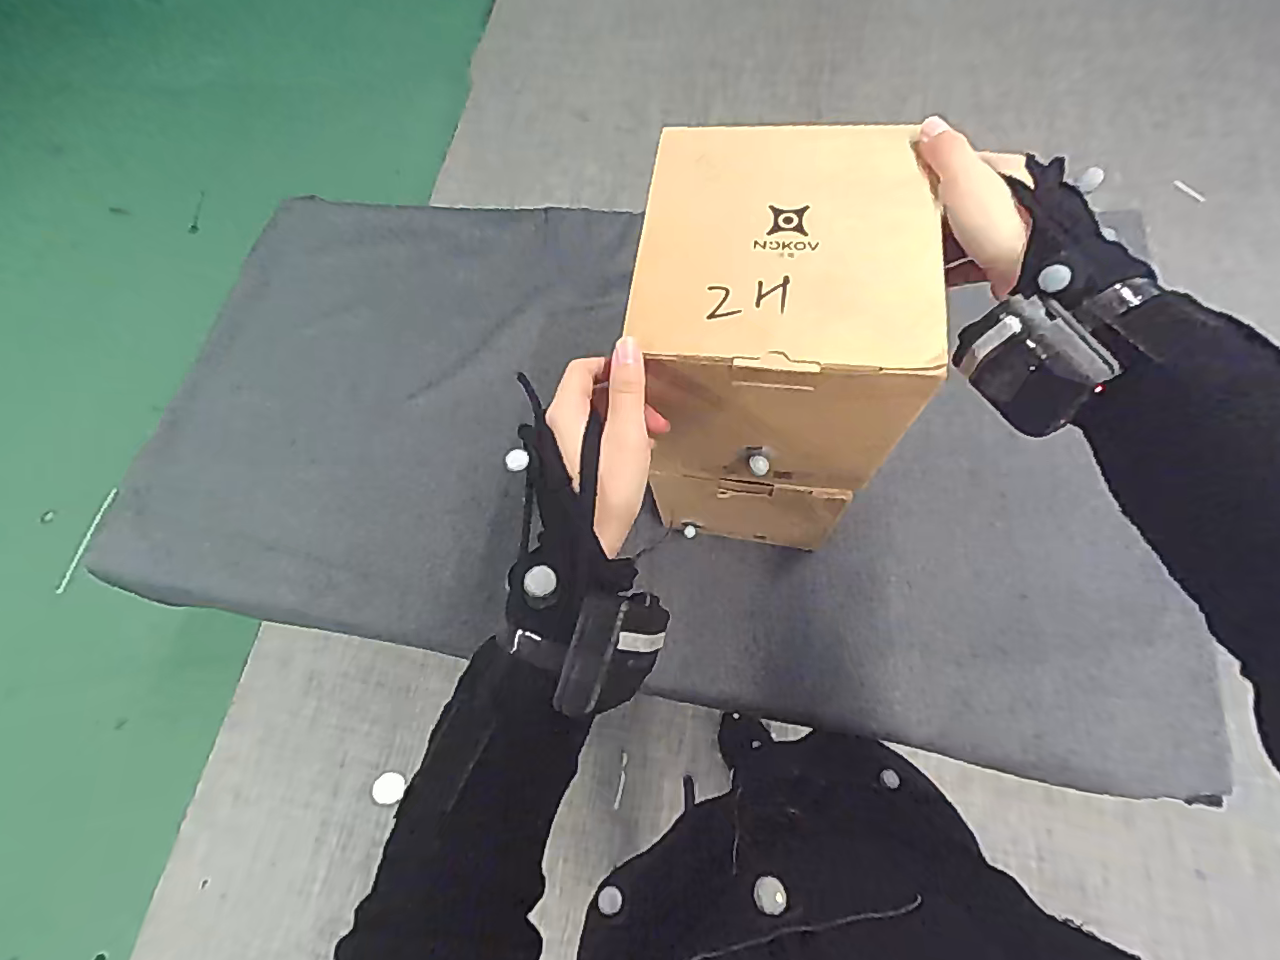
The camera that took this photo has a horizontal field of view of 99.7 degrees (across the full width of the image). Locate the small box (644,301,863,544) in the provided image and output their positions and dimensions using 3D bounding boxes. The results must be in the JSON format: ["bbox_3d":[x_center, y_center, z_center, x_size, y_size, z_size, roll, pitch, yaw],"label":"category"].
[{"bbox_3d":[0.110,-0.047,0.532,0.168,0.176,0.179,8,70,11],"label":"small box"}]
